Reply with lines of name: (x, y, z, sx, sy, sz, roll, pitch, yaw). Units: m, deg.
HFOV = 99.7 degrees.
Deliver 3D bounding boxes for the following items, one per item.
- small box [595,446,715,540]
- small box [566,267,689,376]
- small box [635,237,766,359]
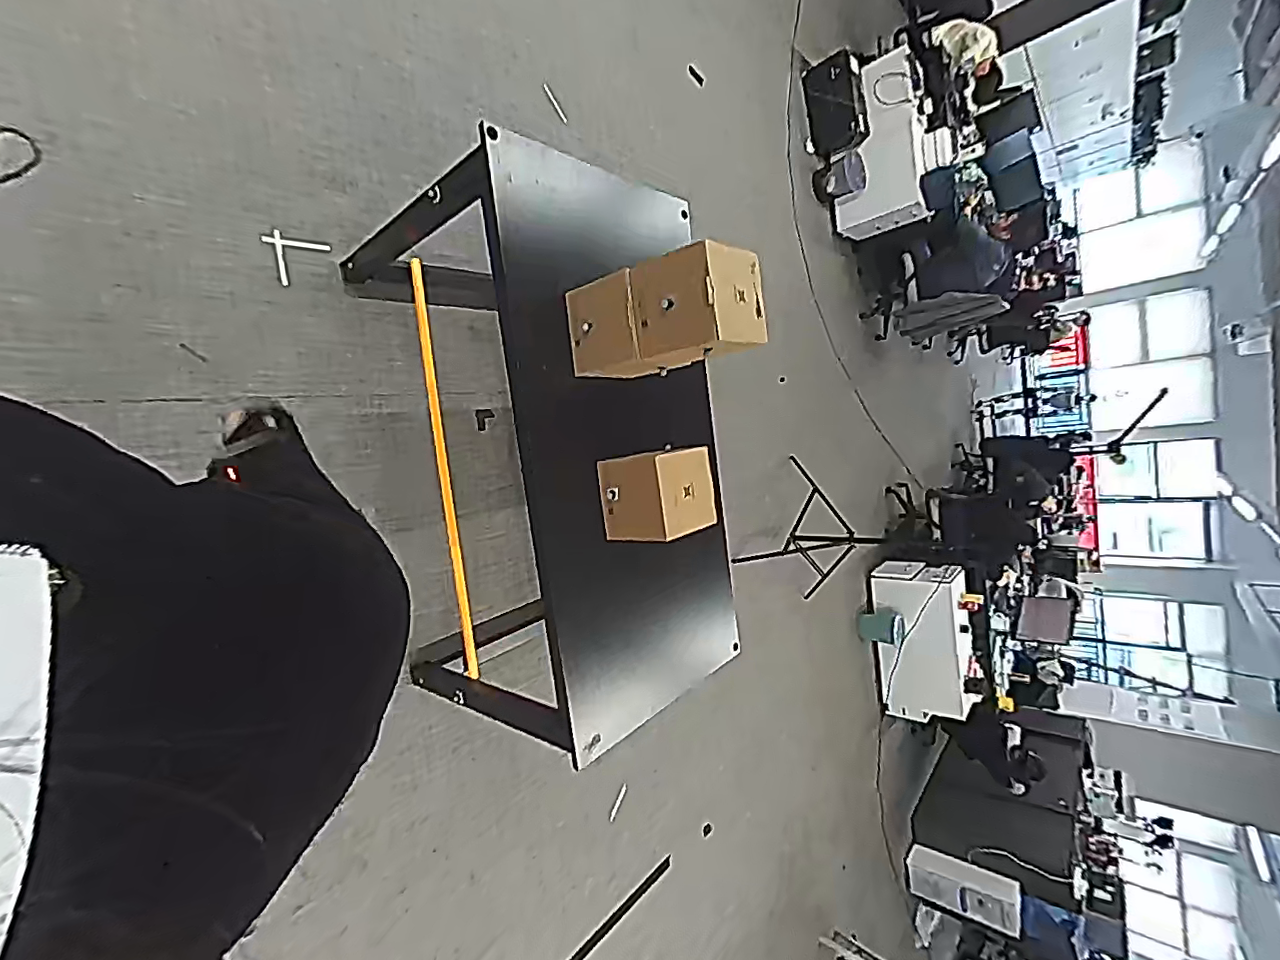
small box: (0.032, 0.025, 1.128, 0.179, 0.176, 0.168, -14, 96, -47)
small box: (-0.024, -0.306, 1.084, 0.179, 0.176, 0.168, -10, 94, -48)
small box: (0.104, -0.317, 0.982, 0.179, 0.176, 0.168, -14, 98, -47)
